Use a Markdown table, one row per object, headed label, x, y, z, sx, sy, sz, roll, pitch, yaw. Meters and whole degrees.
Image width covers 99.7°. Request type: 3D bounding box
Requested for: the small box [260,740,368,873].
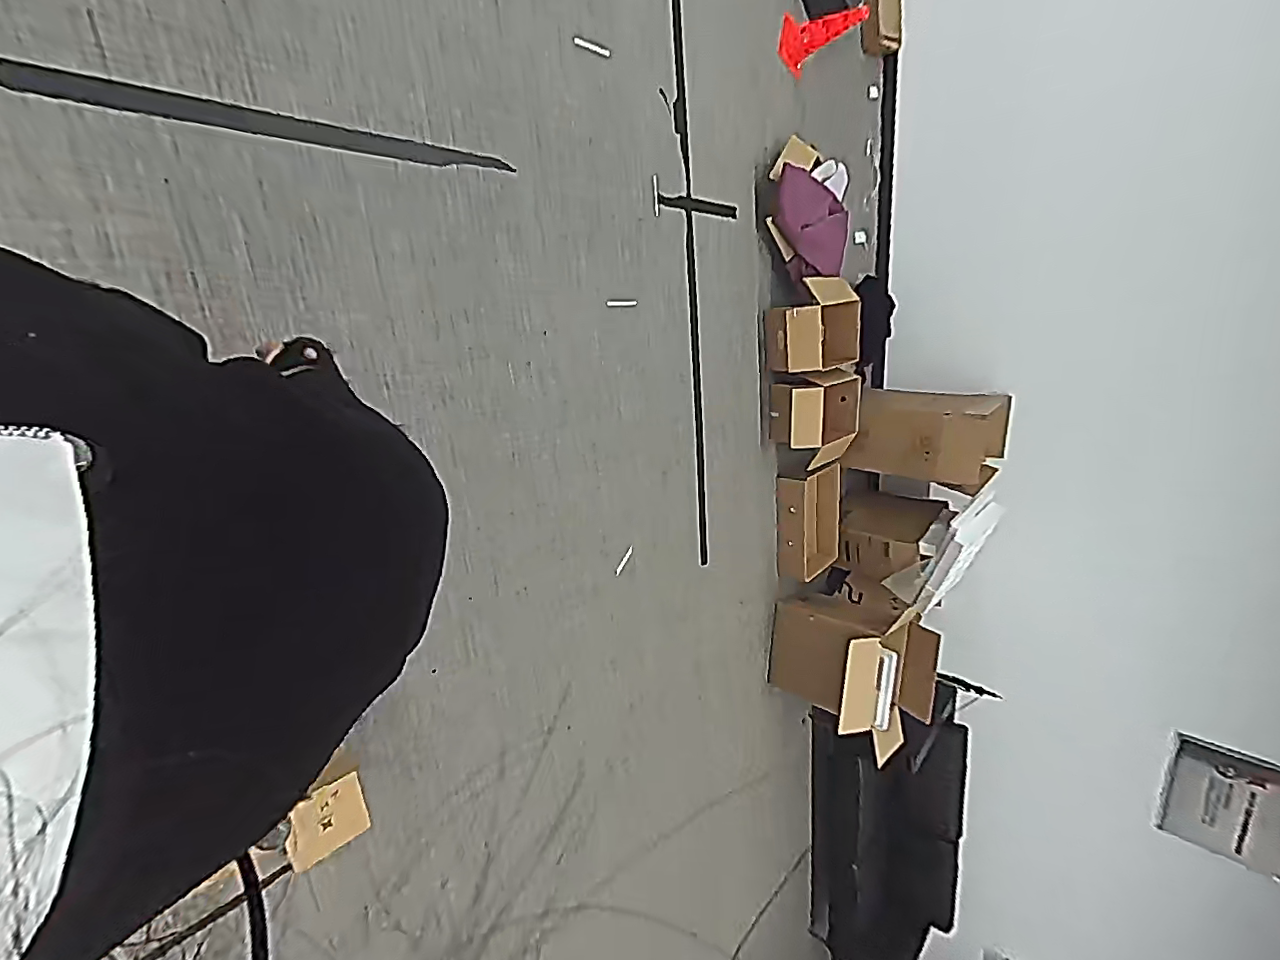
| label | x | y | z | sx | sy | sz | roll | pitch | yaw |
| --- | --- | --- | --- | --- | --- | --- | --- | --- | --- |
| small box | -0.780 | 0.769 | 1.295 | 0.168 | 0.176 | 0.179 | -20 | 112 | -42 |
